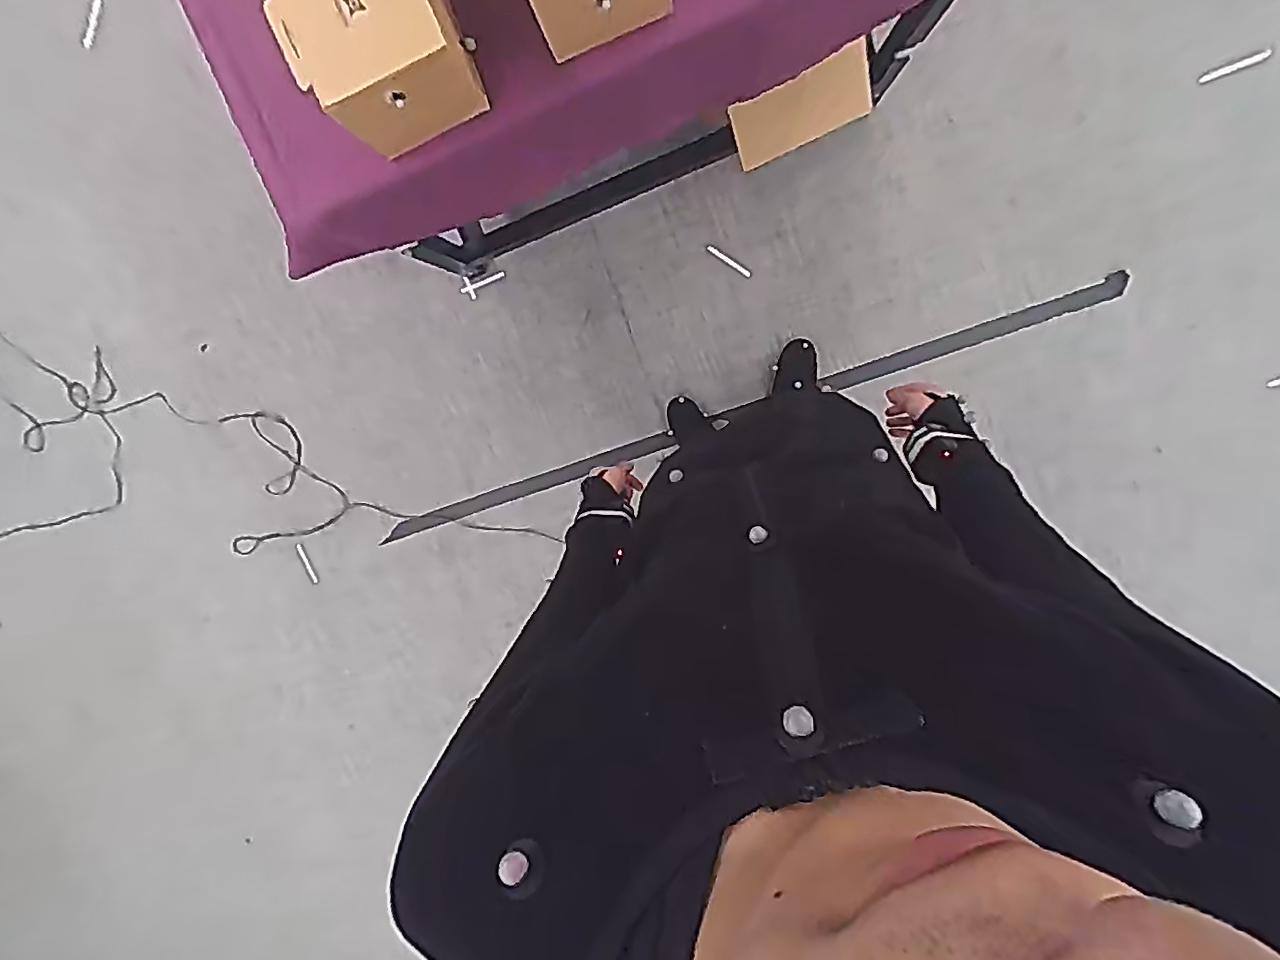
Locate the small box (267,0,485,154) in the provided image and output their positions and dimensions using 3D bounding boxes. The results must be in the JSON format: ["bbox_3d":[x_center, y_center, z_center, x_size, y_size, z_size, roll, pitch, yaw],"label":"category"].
[{"bbox_3d":[-0.334,-0.564,0.703,0.179,0.176,0.168,-21,101,8],"label":"small box"}]
